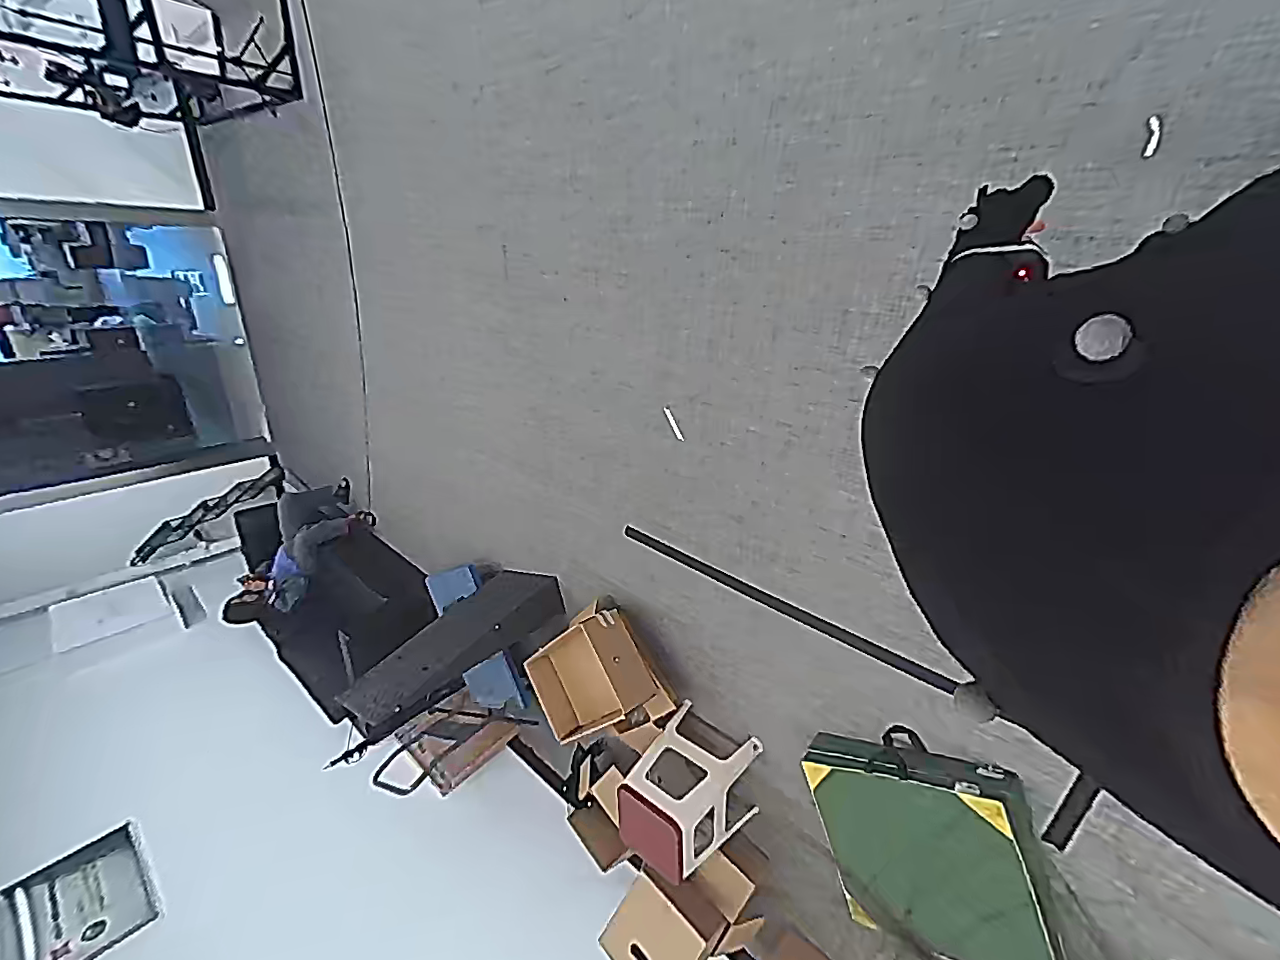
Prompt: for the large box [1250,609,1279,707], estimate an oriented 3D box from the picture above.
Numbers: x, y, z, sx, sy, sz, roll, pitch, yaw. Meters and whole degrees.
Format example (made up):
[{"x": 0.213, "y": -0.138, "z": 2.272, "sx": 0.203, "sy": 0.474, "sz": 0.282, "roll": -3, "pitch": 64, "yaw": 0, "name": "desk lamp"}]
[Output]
[{"x": 0.854, "y": 0.338, "z": 0.465, "sx": 0.320, "sy": 0.320, "sz": 0.408, "roll": -24, "pitch": 108, "yaw": 35, "name": "large box"}]
